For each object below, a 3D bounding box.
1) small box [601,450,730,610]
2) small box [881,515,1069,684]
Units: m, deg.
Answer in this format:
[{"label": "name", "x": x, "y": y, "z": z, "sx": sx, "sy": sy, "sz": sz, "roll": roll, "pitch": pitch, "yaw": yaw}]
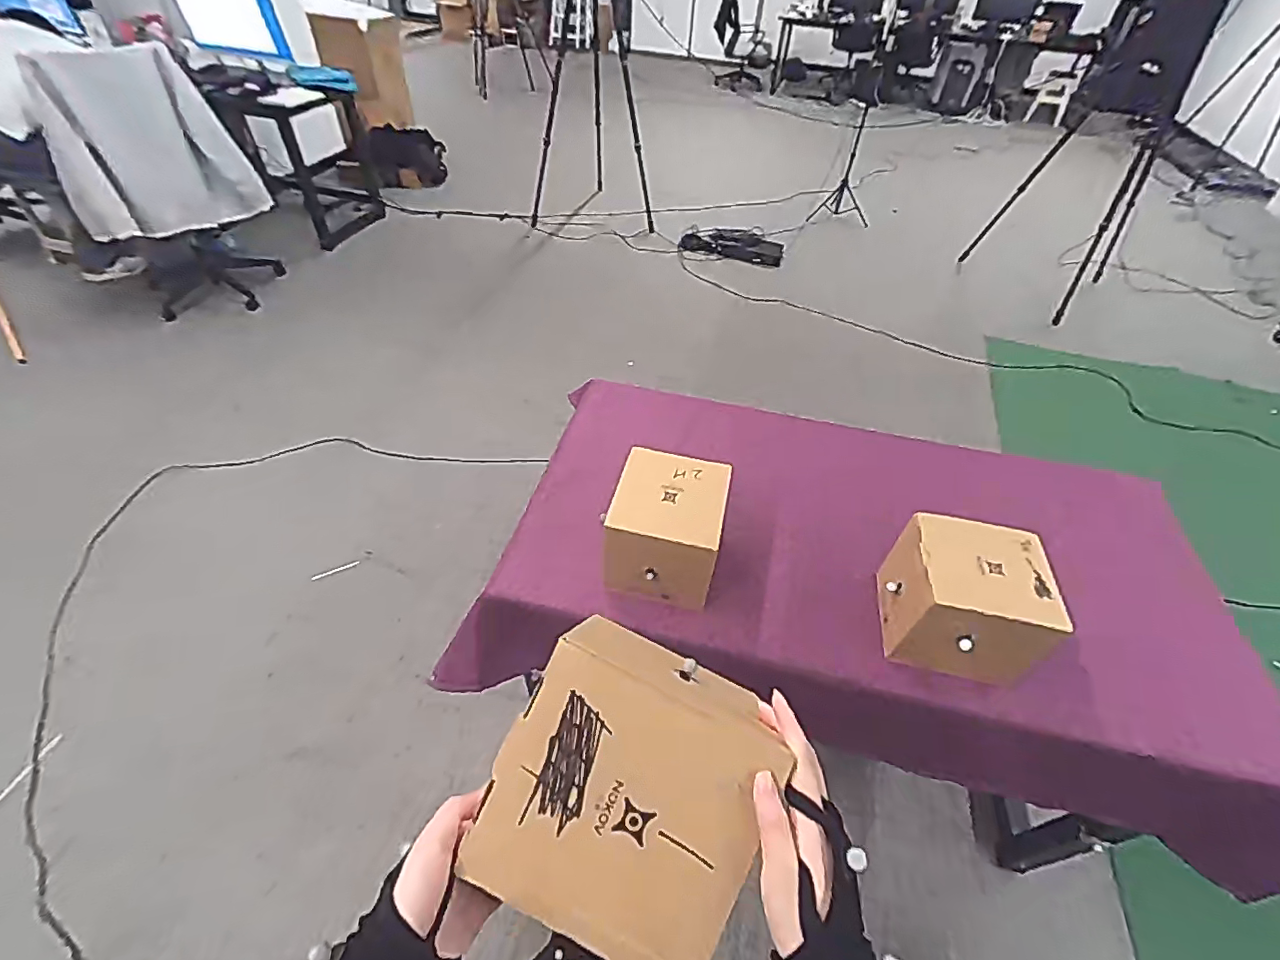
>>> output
[{"label": "small box", "x": 0.041, "y": 0.082, "z": 0.868, "sx": 0.168, "sy": 0.176, "sz": 0.179, "roll": 12, "pitch": 46, "yaw": 7}, {"label": "small box", "x": 0.472, "y": 0.179, "z": 0.802, "sx": 0.179, "sy": 0.176, "sz": 0.168, "roll": 11, "pitch": 46, "yaw": 8}]
